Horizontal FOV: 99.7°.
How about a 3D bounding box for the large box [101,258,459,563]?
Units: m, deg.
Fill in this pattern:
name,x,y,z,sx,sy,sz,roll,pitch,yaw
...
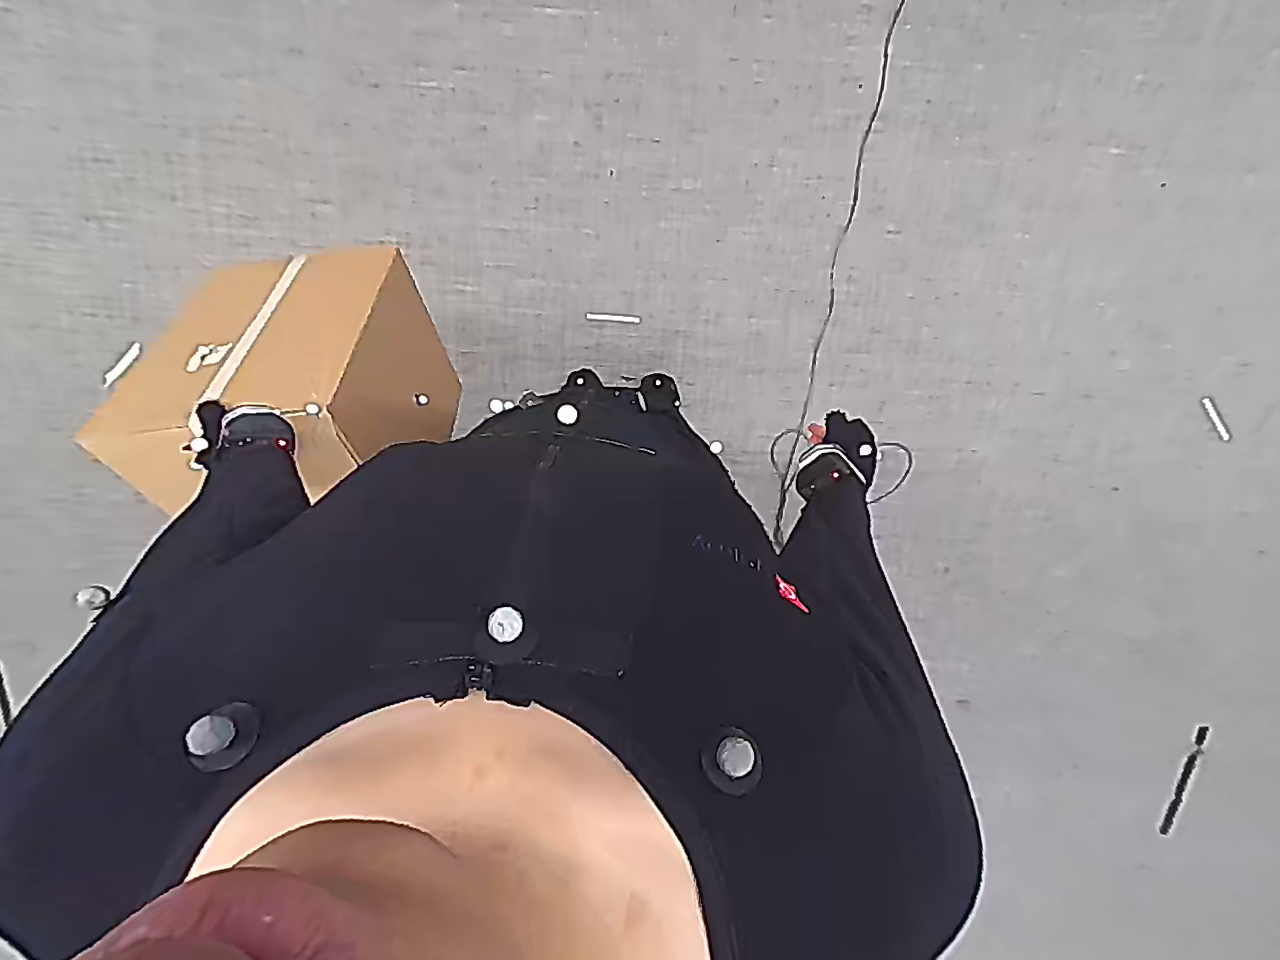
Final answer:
name,x,y,z,sx,sy,sz,roll,pitch,yaw
large box,-0.528,-0.119,0.912,0.320,0.408,0.320,-7,140,2
